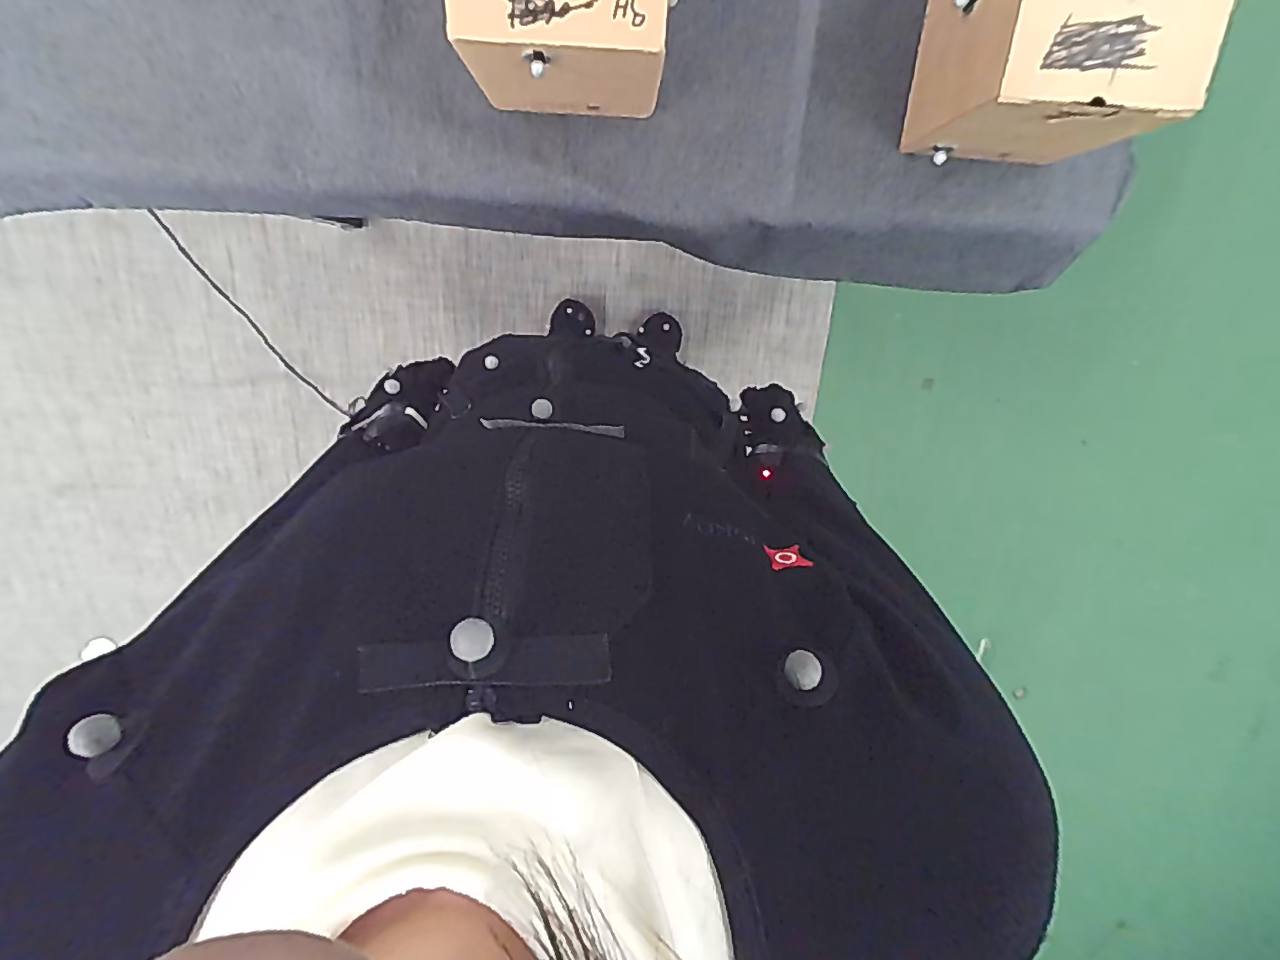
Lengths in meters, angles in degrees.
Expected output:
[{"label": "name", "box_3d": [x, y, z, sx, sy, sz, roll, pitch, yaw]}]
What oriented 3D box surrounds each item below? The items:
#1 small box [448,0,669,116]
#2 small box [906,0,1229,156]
[{"label": "small box", "box_3d": [-0.060, -0.440, 0.457, 0.168, 0.176, 0.179, 2, 109, -2]}, {"label": "small box", "box_3d": [0.365, -0.407, 0.480, 0.168, 0.176, 0.179, 3, 108, -2]}]
